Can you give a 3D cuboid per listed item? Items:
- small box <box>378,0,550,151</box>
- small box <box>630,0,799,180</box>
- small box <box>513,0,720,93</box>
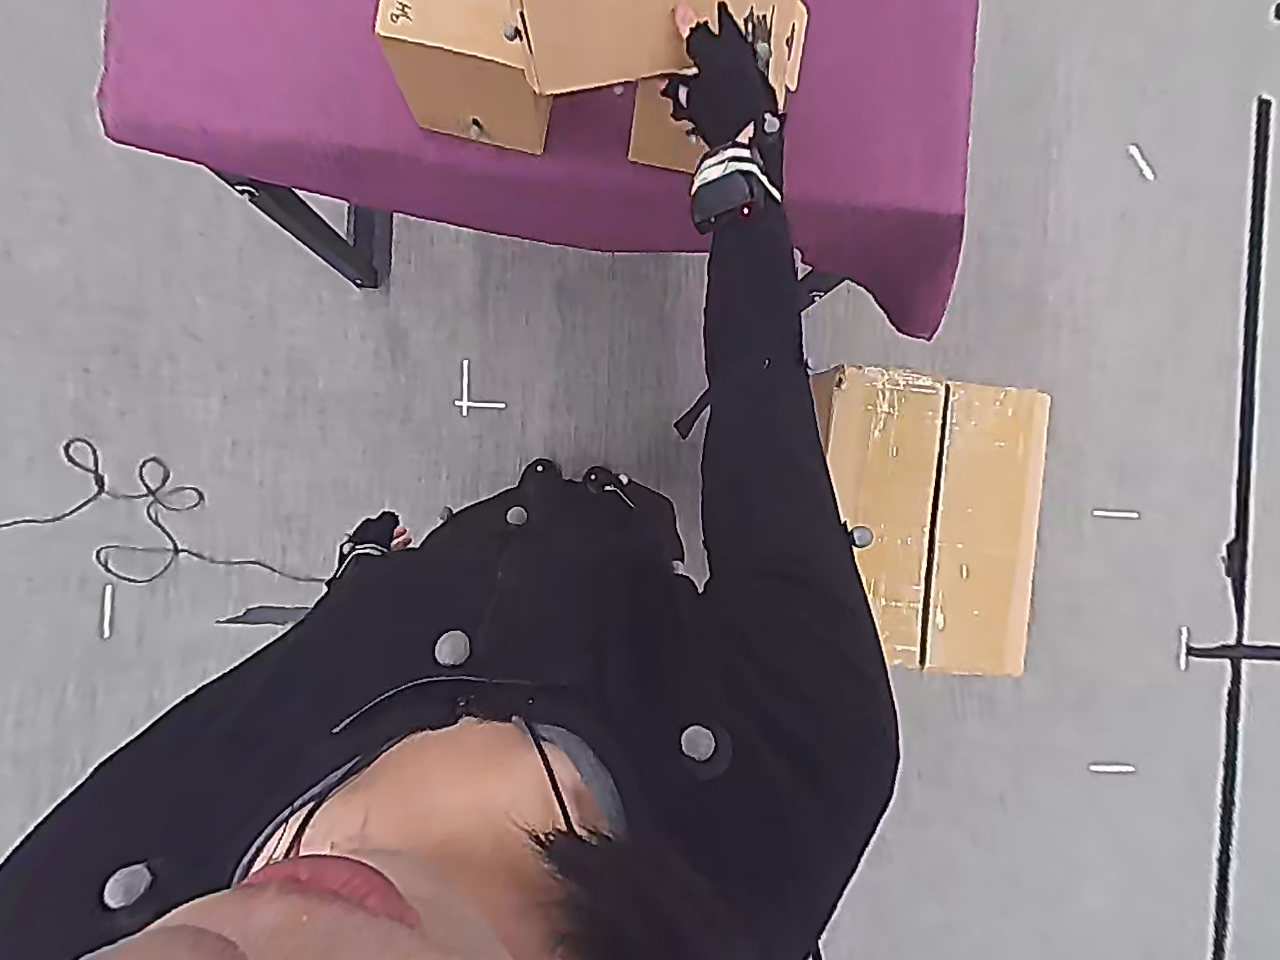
[{"bbox_3d":[-0.201,-0.557,0.687,0.179,0.176,0.168,10,89,-7],"label":"small box"},{"bbox_3d":[0.088,-0.531,0.717,0.179,0.176,0.168,8,89,-5],"label":"small box"},{"bbox_3d":[-0.036,-0.486,0.510,0.179,0.176,0.168,-15,133,-5],"label":"small box"}]
